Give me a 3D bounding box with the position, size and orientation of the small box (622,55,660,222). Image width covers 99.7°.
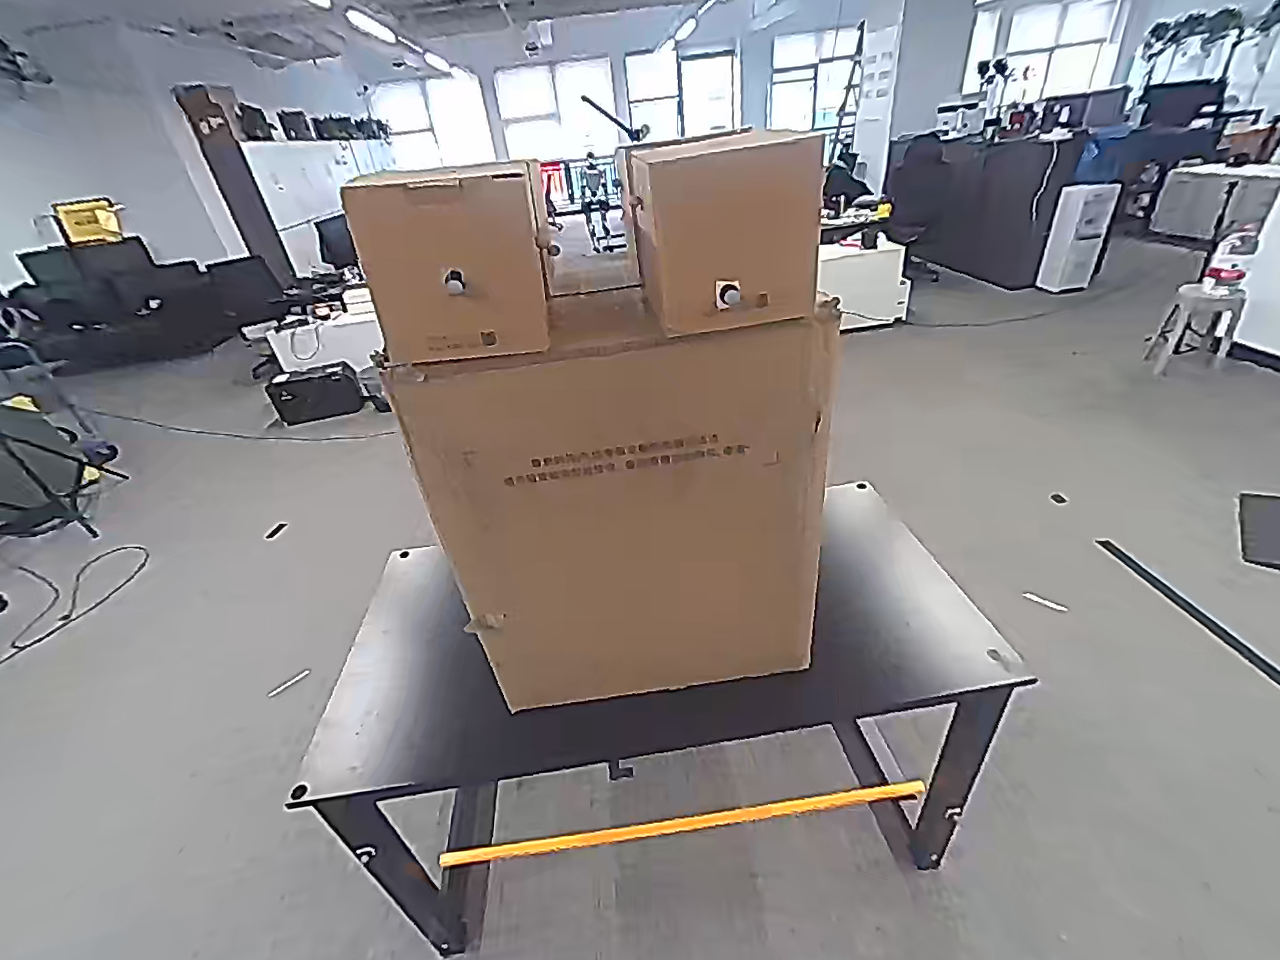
[{"bbox_3d":[0.073,-0.439,0.702,0.168,0.176,0.179,-10,30,-2],"label":"small box"}]

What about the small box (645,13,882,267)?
[{"bbox_3d":[0.104,-0.317,0.520,0.168,0.176,0.179,-11,35,-1],"label":"small box"}]

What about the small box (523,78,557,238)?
[{"bbox_3d":[-0.209,-0.391,0.684,0.179,0.176,0.168,-6,32,-2],"label":"small box"}]

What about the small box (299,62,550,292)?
[{"bbox_3d":[-0.180,-0.283,0.513,0.168,0.176,0.179,-8,36,-8],"label":"small box"}]
